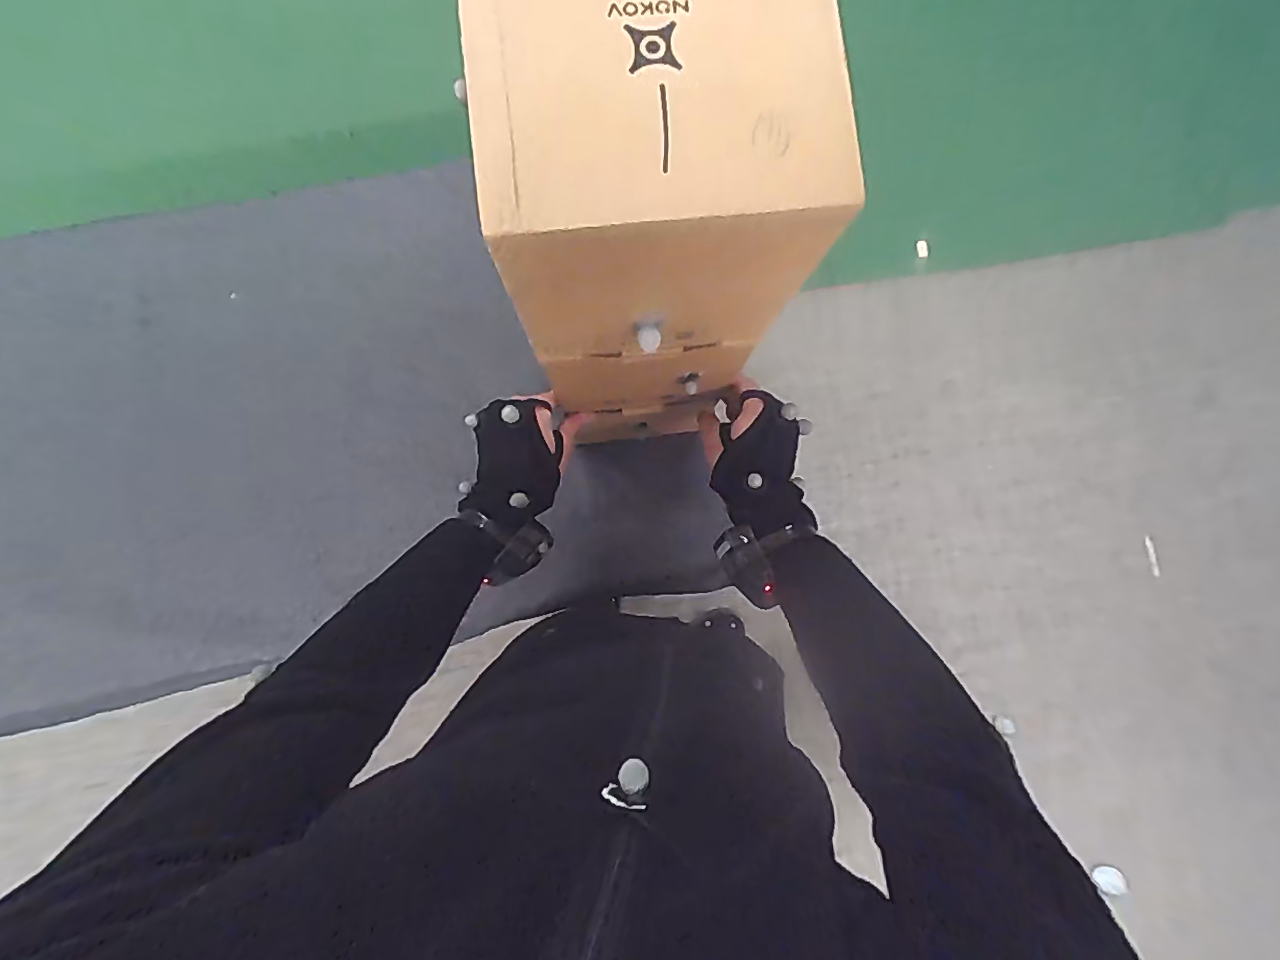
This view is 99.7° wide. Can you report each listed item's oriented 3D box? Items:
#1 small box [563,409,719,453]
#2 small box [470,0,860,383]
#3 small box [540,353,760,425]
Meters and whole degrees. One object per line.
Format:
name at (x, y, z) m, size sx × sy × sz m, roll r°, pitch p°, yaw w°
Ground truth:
small box at (-0.009, -0.131, 0.648) m, size 0.168 × 0.176 × 0.179 m, roll -8°, pitch 85°, yaw -3°
small box at (0.004, -0.171, 0.323) m, size 0.168 × 0.176 × 0.179 m, roll -7°, pitch 85°, yaw -3°
small box at (-0.003, -0.152, 0.487) m, size 0.168 × 0.176 × 0.179 m, roll -7°, pitch 83°, yaw -3°
